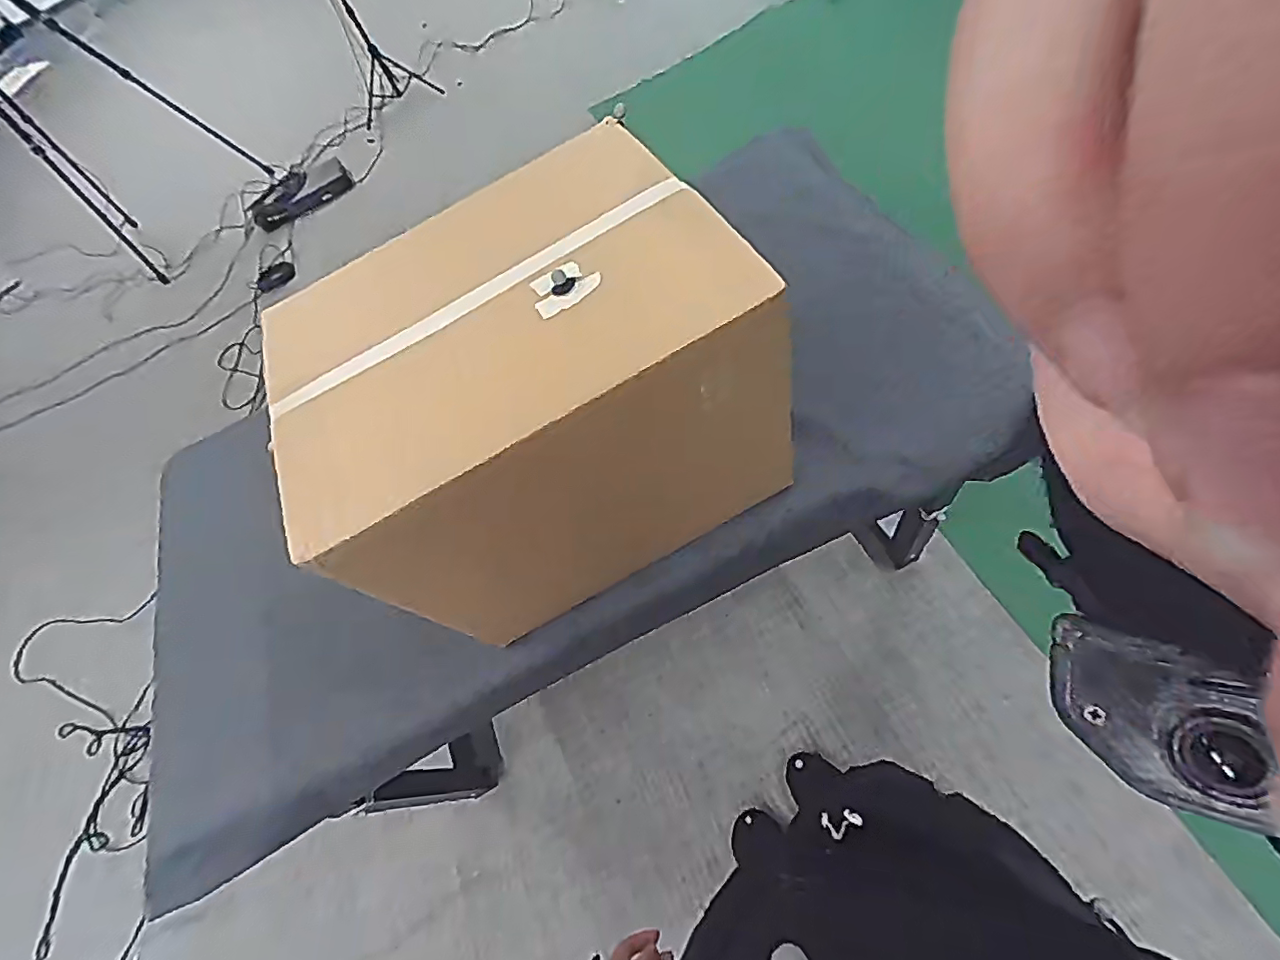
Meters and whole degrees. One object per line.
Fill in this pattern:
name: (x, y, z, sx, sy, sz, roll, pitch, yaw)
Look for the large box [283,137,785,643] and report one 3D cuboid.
large box: (-0.093, -0.078, 0.601, 0.408, 0.320, 0.320, -29, 59, -2)
